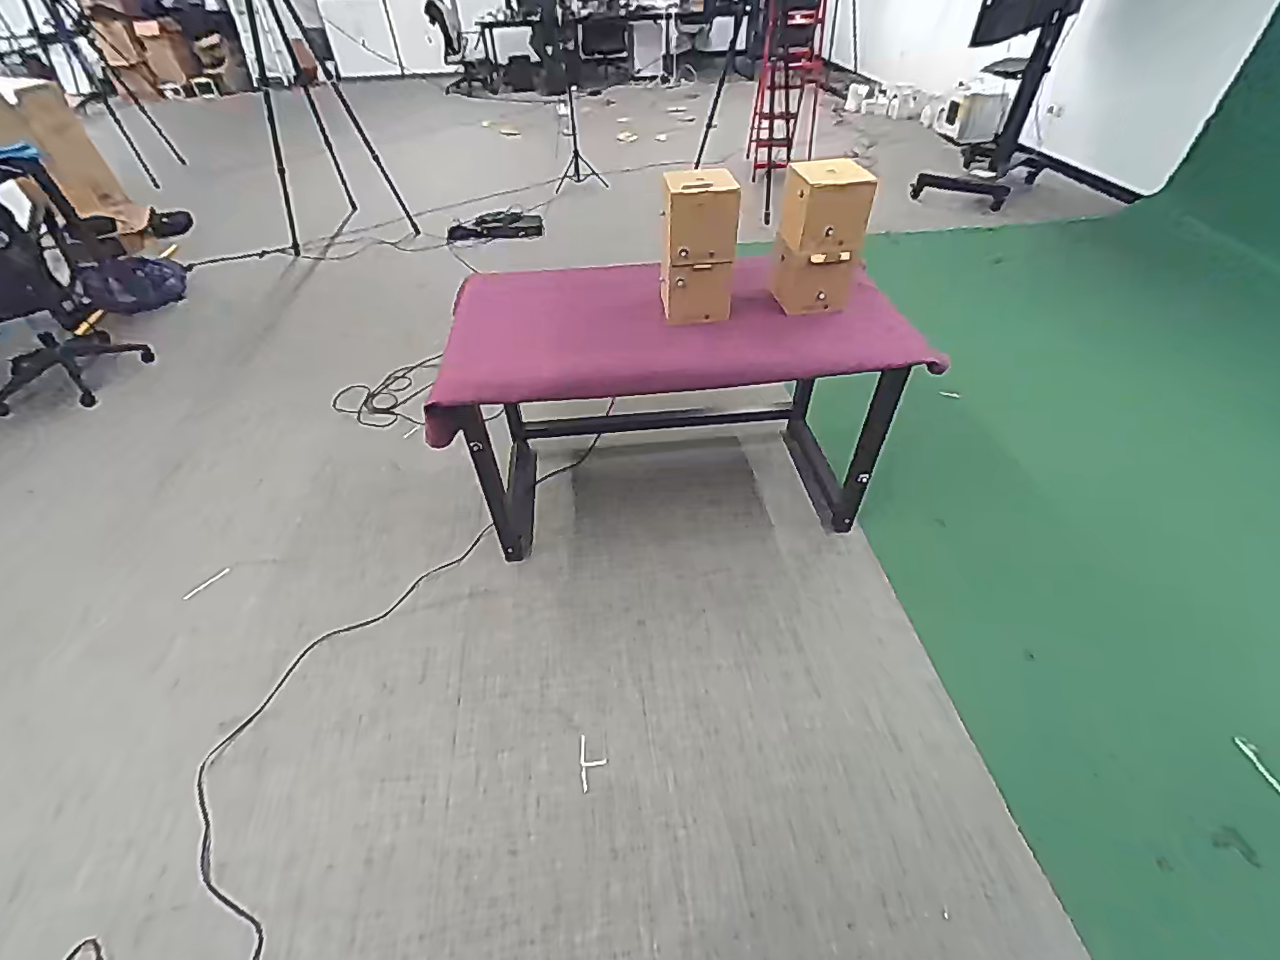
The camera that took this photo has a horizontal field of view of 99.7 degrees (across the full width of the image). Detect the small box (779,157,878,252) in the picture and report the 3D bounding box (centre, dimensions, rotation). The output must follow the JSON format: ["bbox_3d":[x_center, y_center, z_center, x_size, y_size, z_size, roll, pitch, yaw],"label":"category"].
[{"bbox_3d":[0.465,-0.696,1.366,0.168,0.176,0.179,-7,46,-5],"label":"small box"}]

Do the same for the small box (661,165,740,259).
[{"bbox_3d":[0.144,-0.658,1.338,0.168,0.176,0.179,-5,44,-3],"label":"small box"}]

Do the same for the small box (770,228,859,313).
[{"bbox_3d":[0.467,-0.578,1.479,0.168,0.176,0.179,-8,46,-4],"label":"small box"}]
